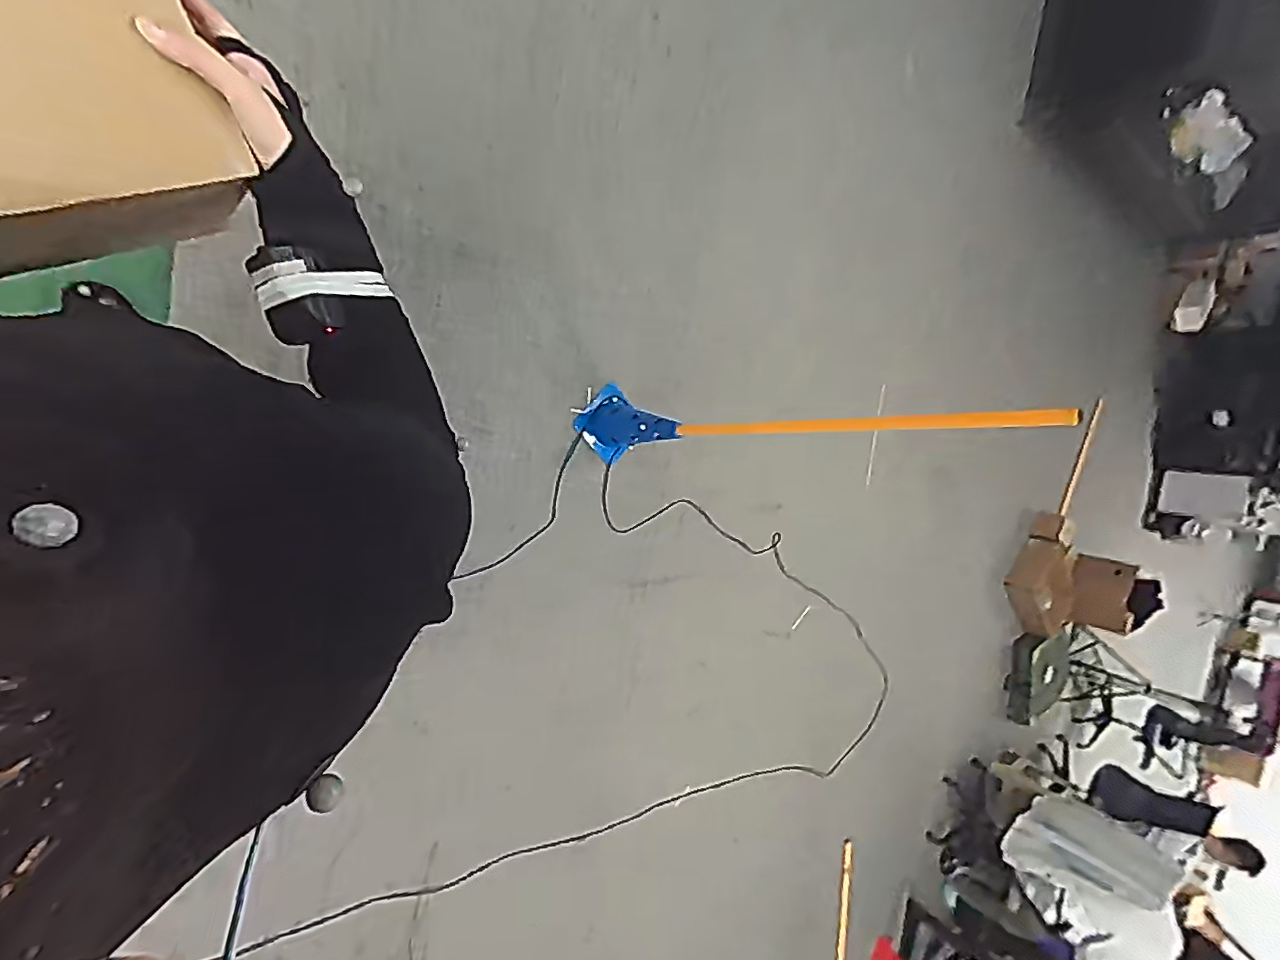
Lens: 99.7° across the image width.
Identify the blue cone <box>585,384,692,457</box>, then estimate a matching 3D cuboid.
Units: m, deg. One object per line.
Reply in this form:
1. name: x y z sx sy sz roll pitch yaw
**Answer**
1. blue cone: 0.017 -0.168 1.578 0.193 0.380 0.192 44 72 -30
